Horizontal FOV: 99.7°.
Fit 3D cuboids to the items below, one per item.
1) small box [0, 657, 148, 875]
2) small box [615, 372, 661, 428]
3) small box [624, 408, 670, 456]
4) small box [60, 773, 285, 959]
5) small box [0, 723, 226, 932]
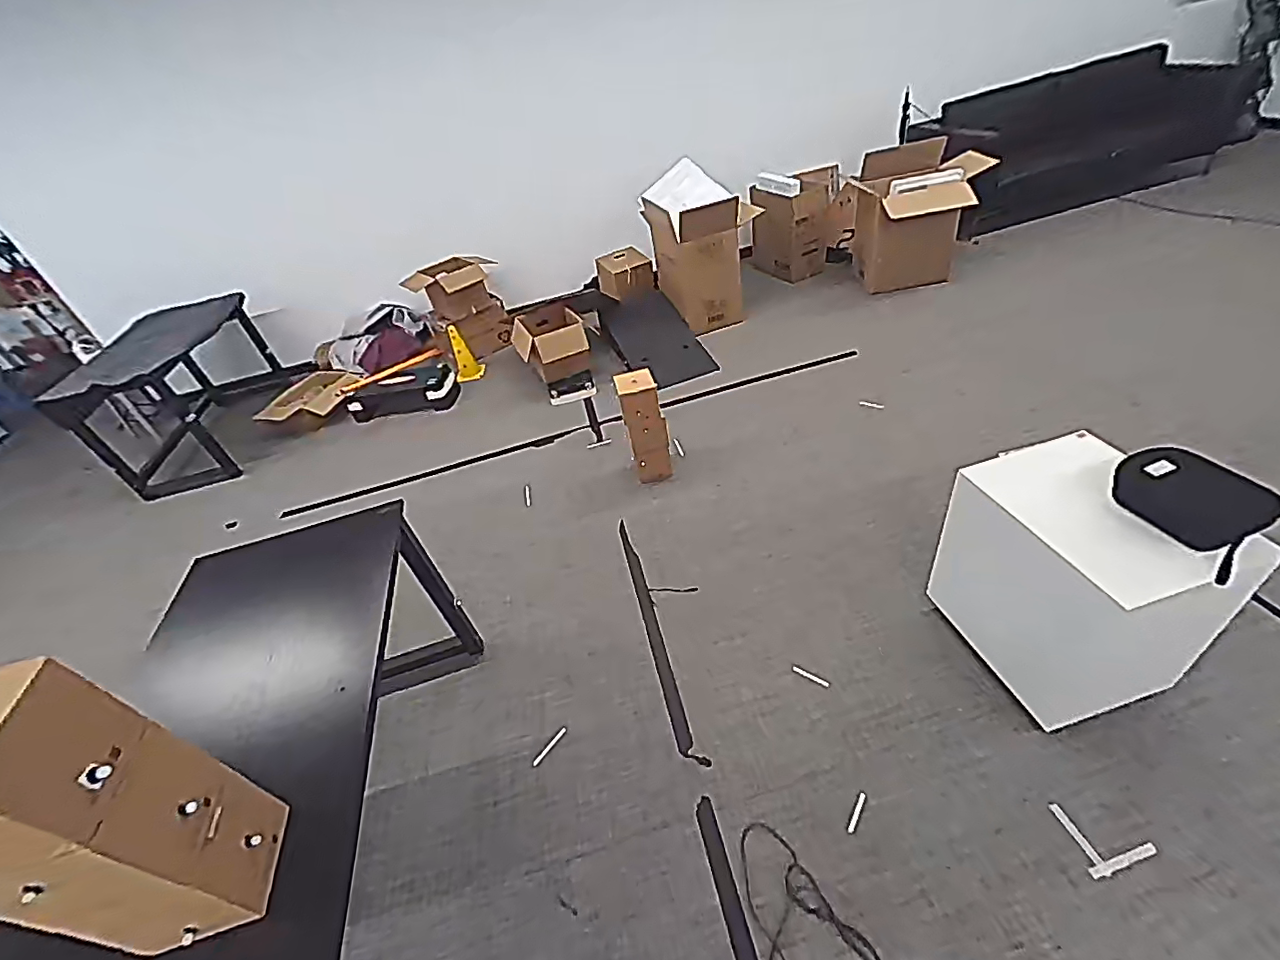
[{"bbox_3d":[-0.750,0.344,0.627,0.179,0.176,0.168,-17,40,-6],"label":"small box"},{"bbox_3d":[-0.009,-0.358,2.423,0.168,0.176,0.179,-14,40,-3],"label":"small box"},{"bbox_3d":[0.030,-0.234,2.521,0.179,0.176,0.168,-15,39,-5],"label":"small box"},{"bbox_3d":[-0.691,0.593,0.832,0.179,0.176,0.168,-17,39,-6],"label":"small box"},{"bbox_3d":[-0.722,0.468,0.728,0.179,0.176,0.168,-17,40,-5],"label":"small box"}]
